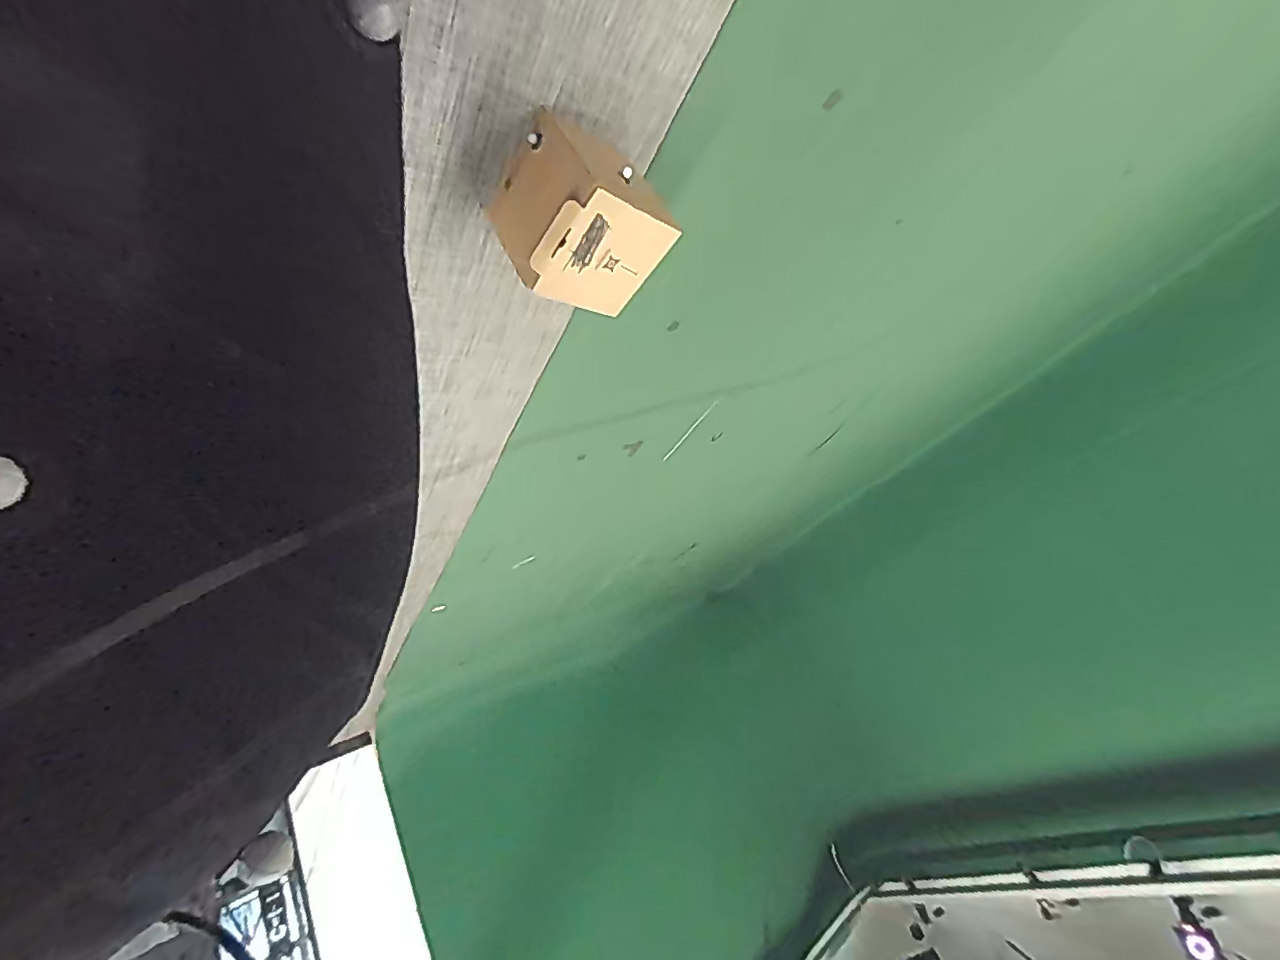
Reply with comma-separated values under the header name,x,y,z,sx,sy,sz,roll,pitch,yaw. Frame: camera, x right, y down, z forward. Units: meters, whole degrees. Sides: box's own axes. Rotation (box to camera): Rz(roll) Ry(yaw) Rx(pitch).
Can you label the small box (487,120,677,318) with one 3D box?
name,x,y,z,sx,sy,sz,roll,pitch,yaw
small box,-0.088,-0.364,0.768,0.179,0.176,0.168,-4,147,-50
